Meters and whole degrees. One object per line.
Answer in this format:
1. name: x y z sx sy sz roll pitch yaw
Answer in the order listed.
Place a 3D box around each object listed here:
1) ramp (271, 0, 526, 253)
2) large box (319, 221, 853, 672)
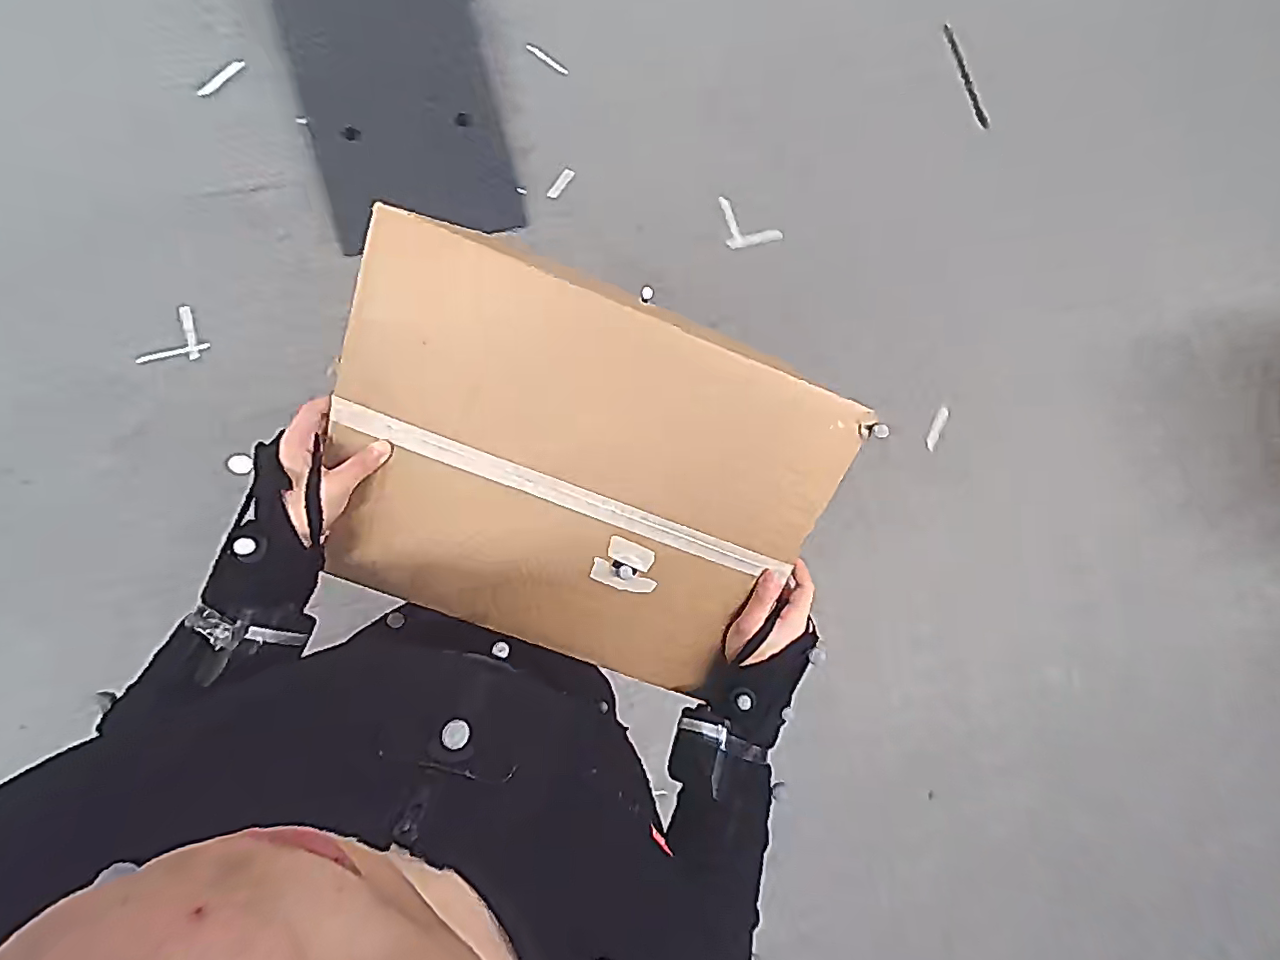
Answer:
1. ramp: -0.658 -1.134 1.412 0.509 0.206 0.991 -17 86 -13
2. large box: -0.063 -0.051 0.608 0.408 0.320 0.320 19 111 -8
